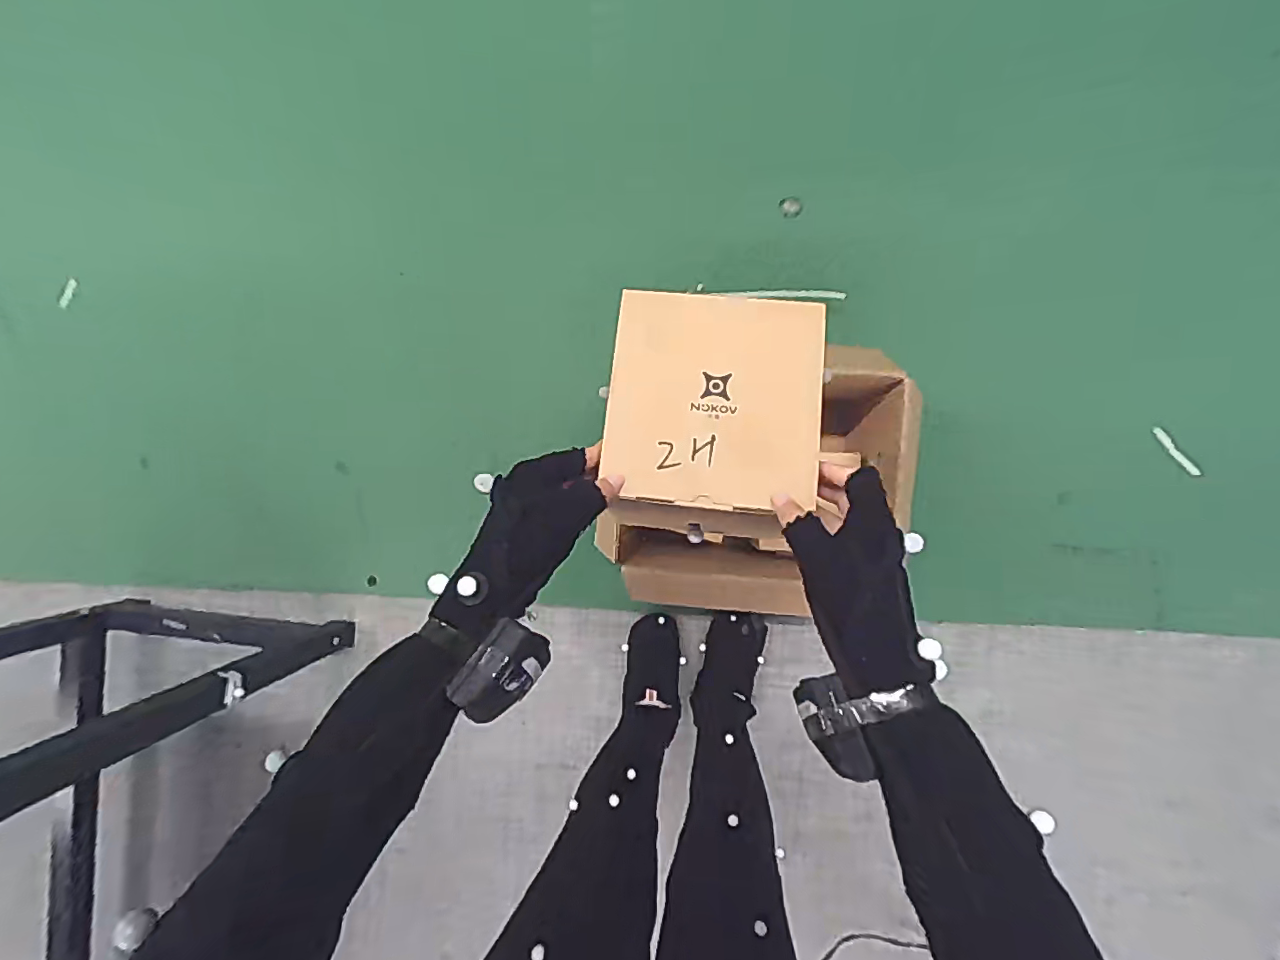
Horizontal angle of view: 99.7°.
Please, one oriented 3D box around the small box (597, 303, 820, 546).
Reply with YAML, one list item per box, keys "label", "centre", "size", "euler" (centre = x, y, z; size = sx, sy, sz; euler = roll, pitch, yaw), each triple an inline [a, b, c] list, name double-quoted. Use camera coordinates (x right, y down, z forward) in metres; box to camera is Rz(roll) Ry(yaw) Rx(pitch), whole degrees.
- label: "small box"
  centre: [0.061, -0.040, 0.509]
  size: [0.168, 0.176, 0.179]
  euler: [6, 79, 5]
